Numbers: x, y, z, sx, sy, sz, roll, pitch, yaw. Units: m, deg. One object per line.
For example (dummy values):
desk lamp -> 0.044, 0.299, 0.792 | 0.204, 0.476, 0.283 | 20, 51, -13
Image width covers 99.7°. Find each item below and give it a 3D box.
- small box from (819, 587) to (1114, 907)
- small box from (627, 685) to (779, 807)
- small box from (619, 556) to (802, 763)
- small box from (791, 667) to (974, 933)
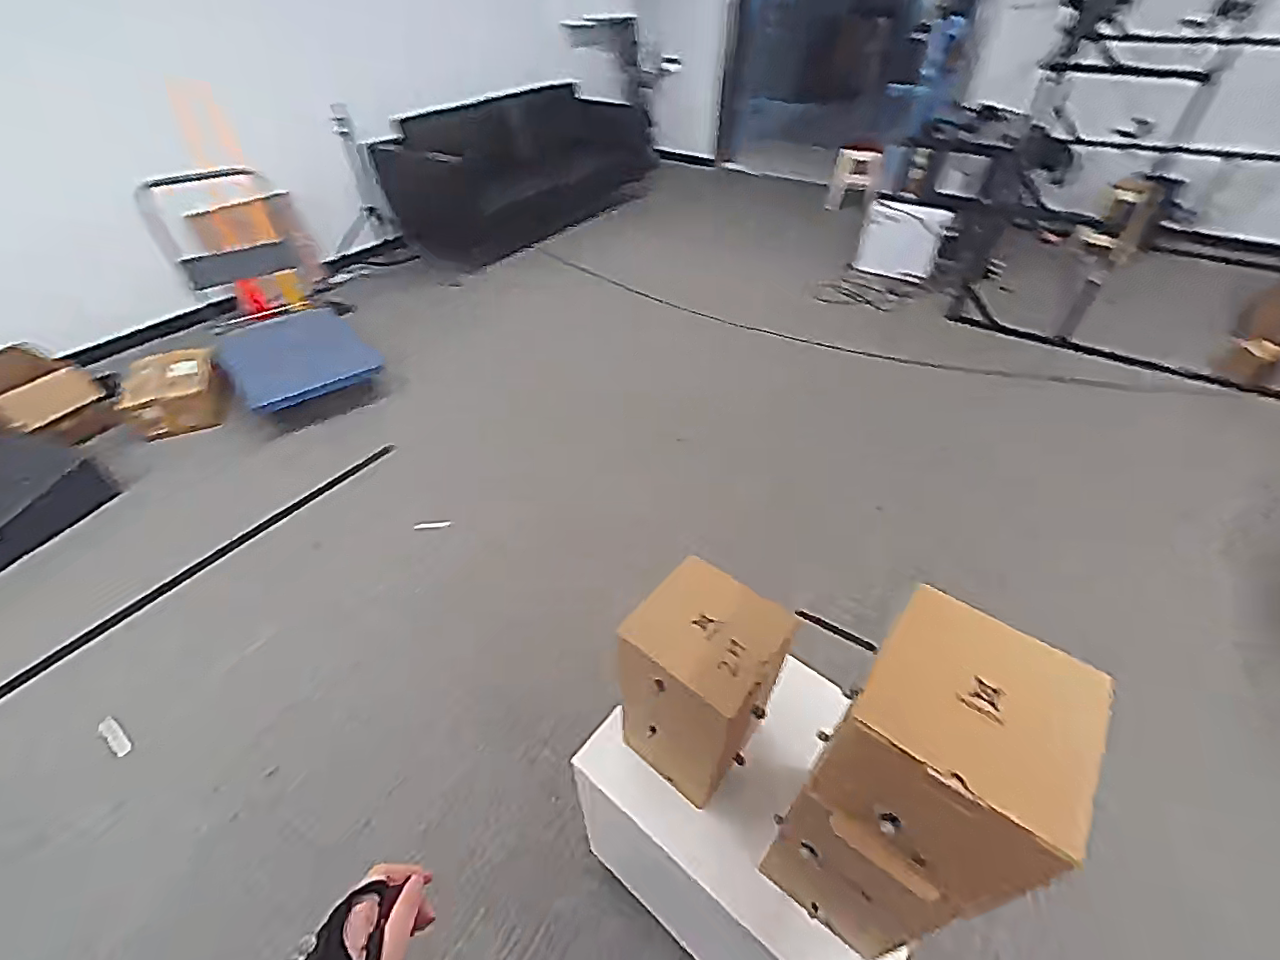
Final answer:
small box -> 0.288, 0.243, 0.503 | 0.168, 0.176, 0.179 | 28, 50, 27
small box -> 0.091, 0.364, 0.852 | 0.168, 0.176, 0.179 | 30, 50, 29
small box -> 0.089, 0.245, 0.738 | 0.179, 0.176, 0.168 | 31, 52, 28
small box -> 0.288, 0.361, 0.615 | 0.168, 0.176, 0.179 | 28, 49, 28
